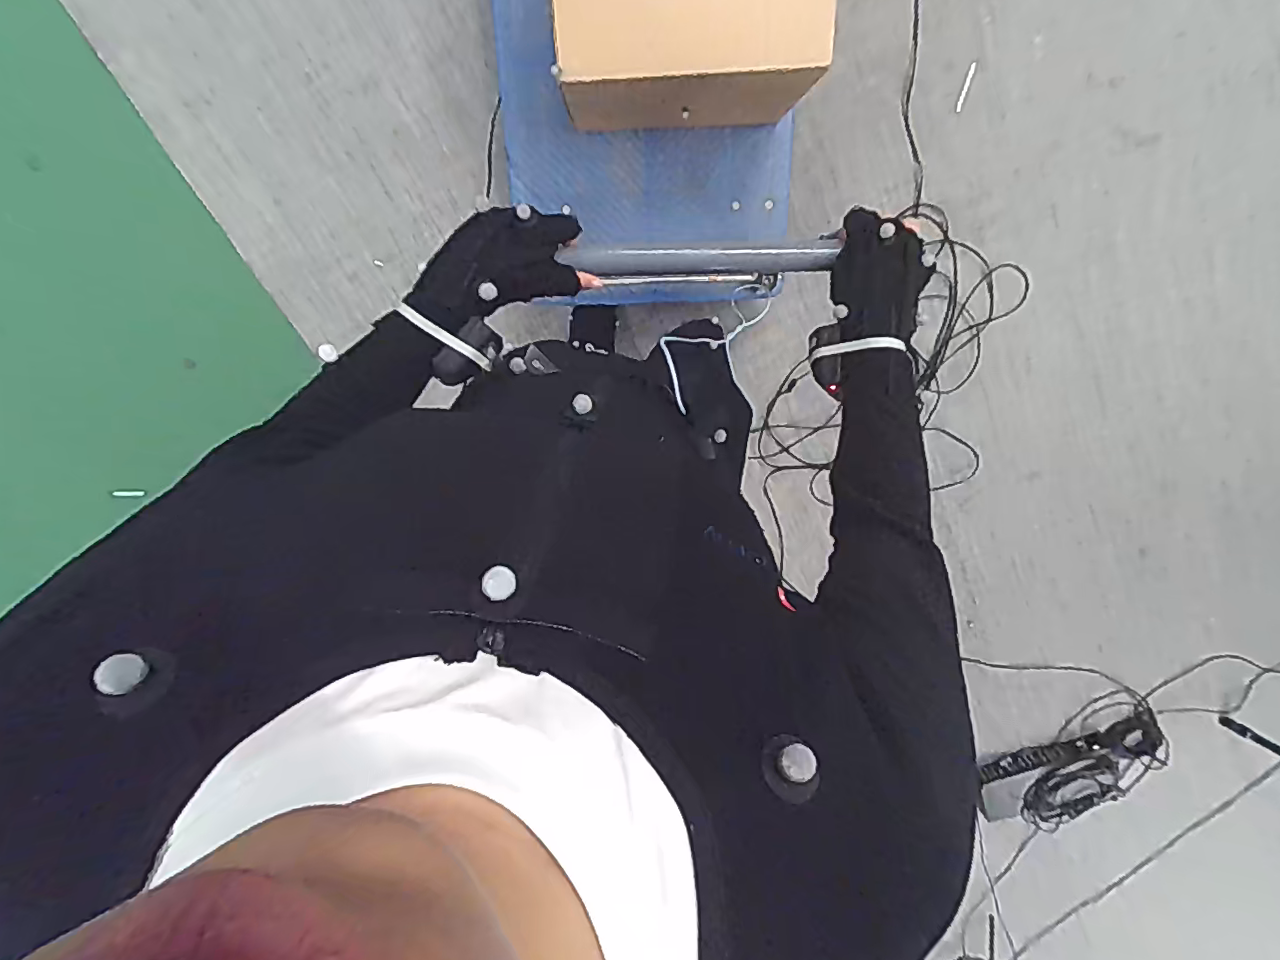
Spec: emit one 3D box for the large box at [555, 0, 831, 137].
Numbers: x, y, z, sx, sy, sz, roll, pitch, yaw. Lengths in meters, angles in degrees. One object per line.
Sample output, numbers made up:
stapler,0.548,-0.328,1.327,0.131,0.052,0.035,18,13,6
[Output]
large box,0.074,-0.790,0.895,0.408,0.320,0.320,-3,110,1
